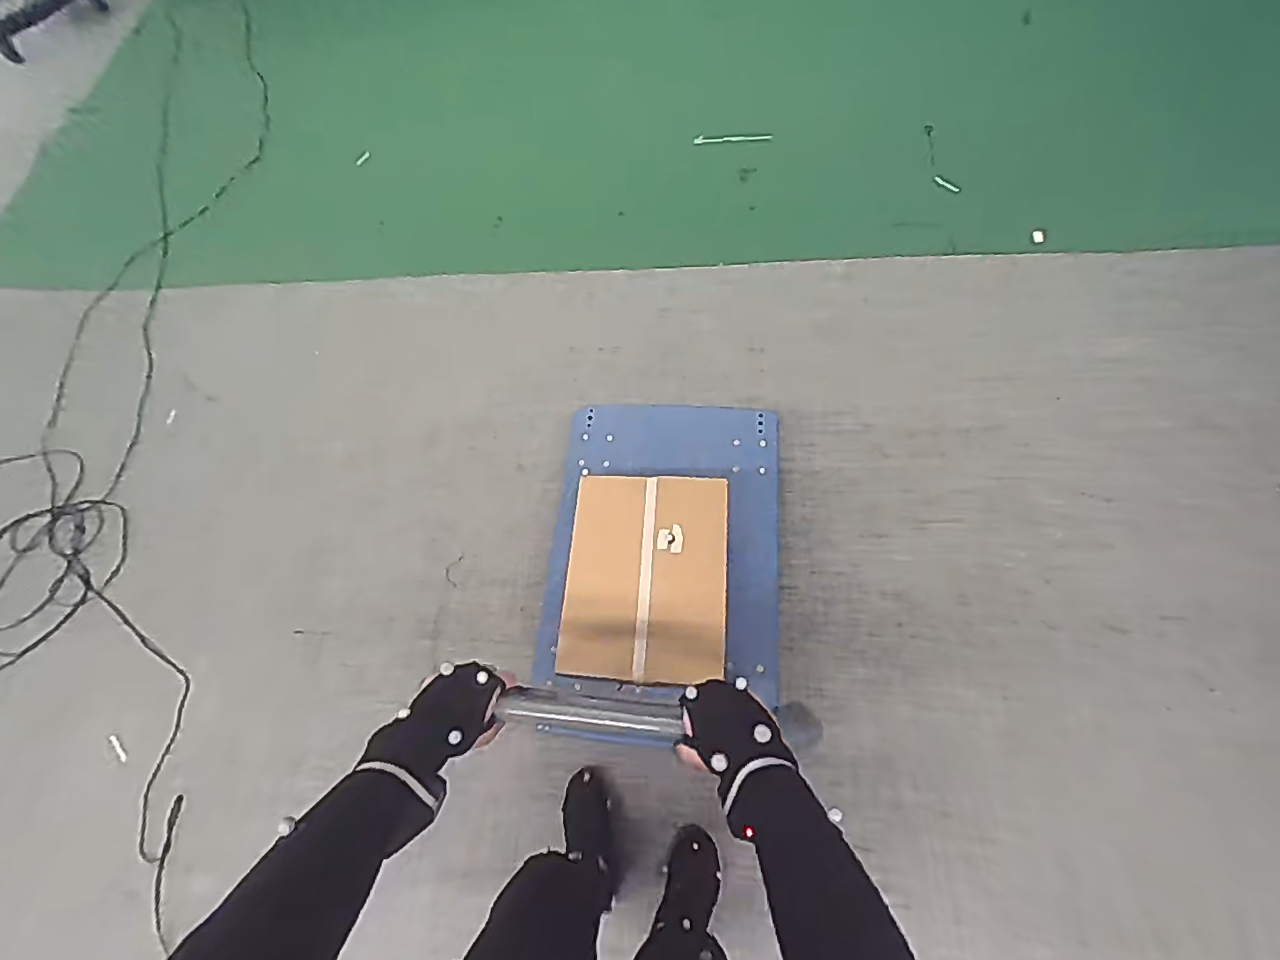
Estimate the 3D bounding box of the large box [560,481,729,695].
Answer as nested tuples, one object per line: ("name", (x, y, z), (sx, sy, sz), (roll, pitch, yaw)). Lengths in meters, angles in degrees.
("large box", (0.032, 0.247, 1.190), (0.320, 0.320, 0.408), (1, 66, 7))
